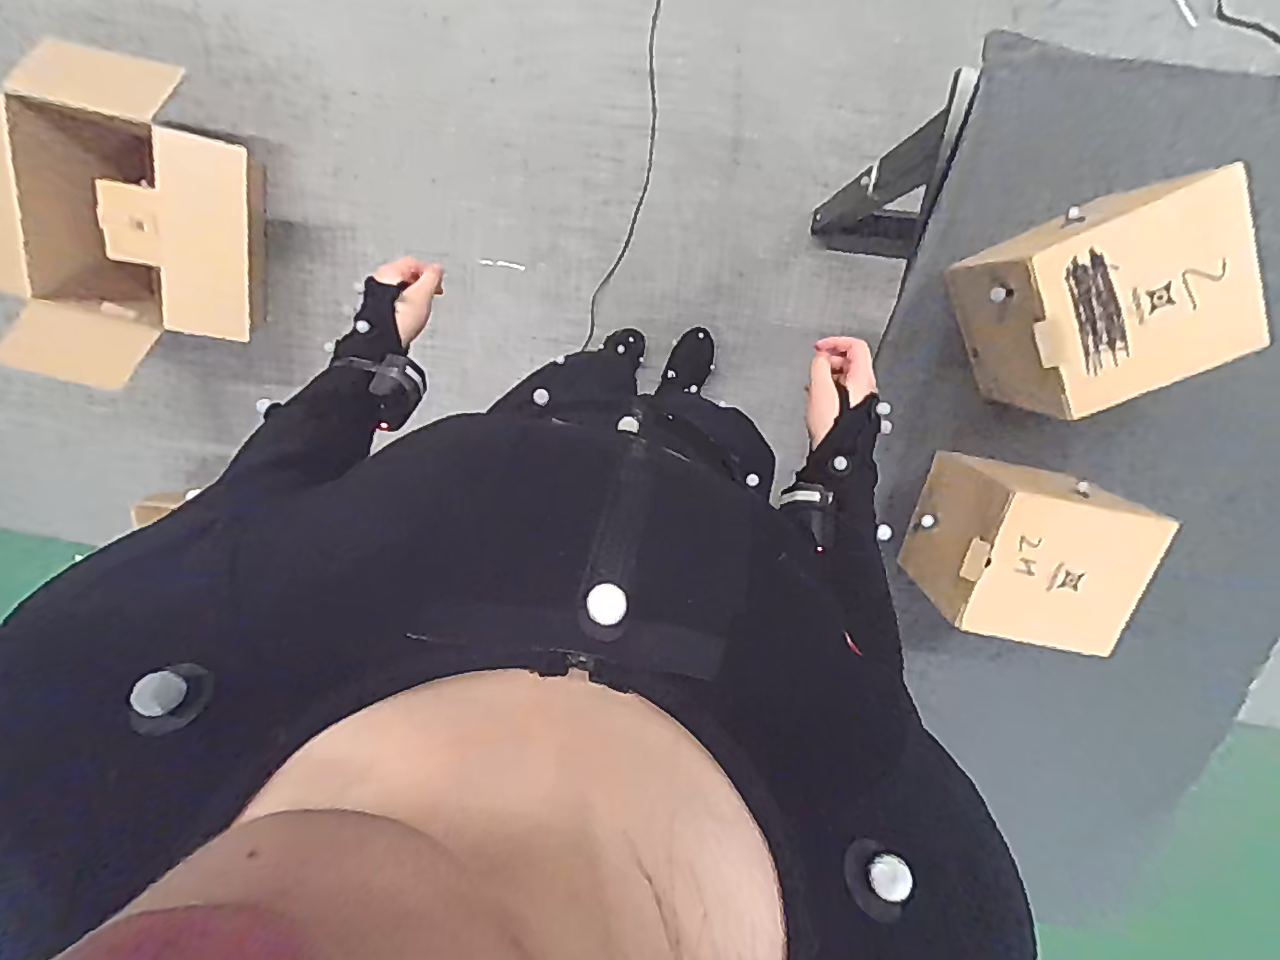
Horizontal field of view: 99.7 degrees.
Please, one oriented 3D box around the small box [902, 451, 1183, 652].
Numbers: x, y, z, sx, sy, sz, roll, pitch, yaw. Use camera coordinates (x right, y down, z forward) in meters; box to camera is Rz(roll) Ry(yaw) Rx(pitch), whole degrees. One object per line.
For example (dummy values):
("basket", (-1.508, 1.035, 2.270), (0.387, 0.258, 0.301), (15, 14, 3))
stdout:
("small box", (0.450, 0.073, 0.641), (0.179, 0.176, 0.168), (11, 107, 1))
